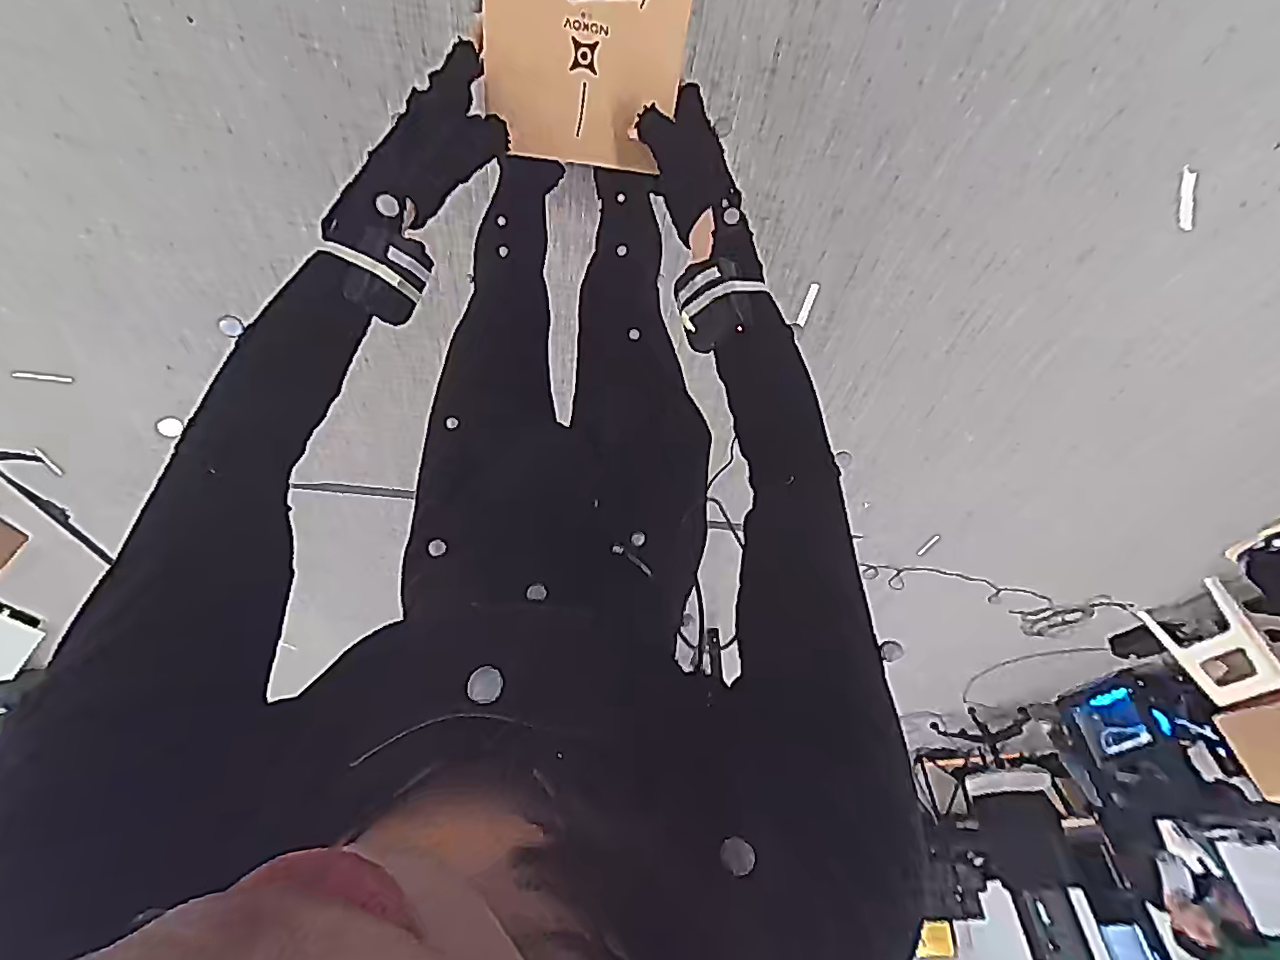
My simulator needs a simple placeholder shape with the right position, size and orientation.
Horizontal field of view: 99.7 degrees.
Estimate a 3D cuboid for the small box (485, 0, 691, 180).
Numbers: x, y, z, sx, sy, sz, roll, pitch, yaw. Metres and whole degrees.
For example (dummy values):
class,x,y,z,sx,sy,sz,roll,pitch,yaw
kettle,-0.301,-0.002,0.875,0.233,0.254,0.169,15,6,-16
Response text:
class,x,y,z,sx,sy,sz,roll,pitch,yaw
small box,-0.059,-0.407,0.512,0.168,0.176,0.179,1,128,-13
